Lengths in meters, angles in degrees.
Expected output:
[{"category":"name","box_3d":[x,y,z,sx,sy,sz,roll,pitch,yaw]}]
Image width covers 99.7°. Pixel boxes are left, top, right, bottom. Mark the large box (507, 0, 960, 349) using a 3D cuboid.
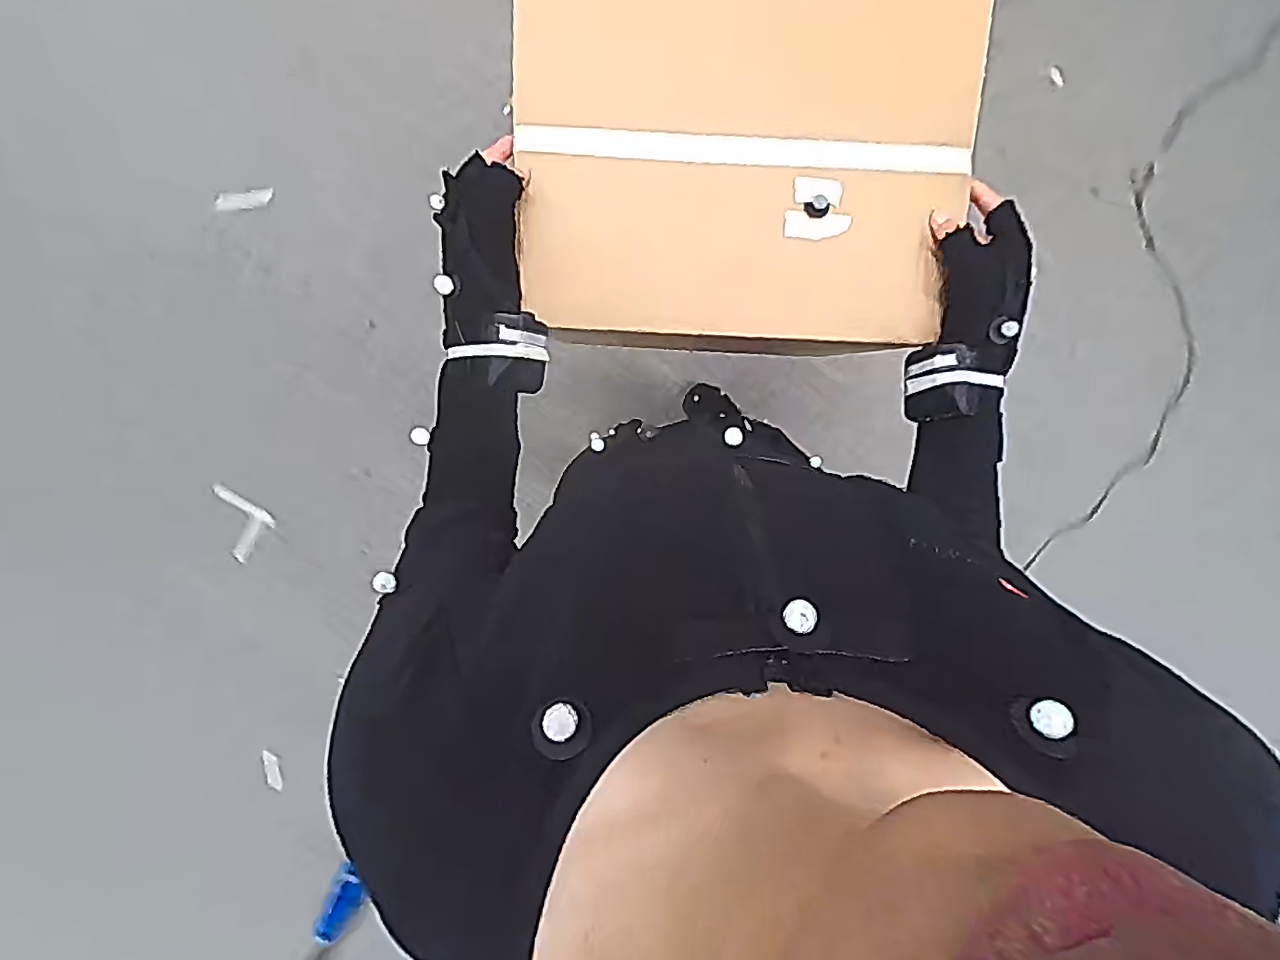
[{"category":"large box","box_3d":[0.077,-0.323,0.637,0.408,0.320,0.320,1,101,-2]}]
